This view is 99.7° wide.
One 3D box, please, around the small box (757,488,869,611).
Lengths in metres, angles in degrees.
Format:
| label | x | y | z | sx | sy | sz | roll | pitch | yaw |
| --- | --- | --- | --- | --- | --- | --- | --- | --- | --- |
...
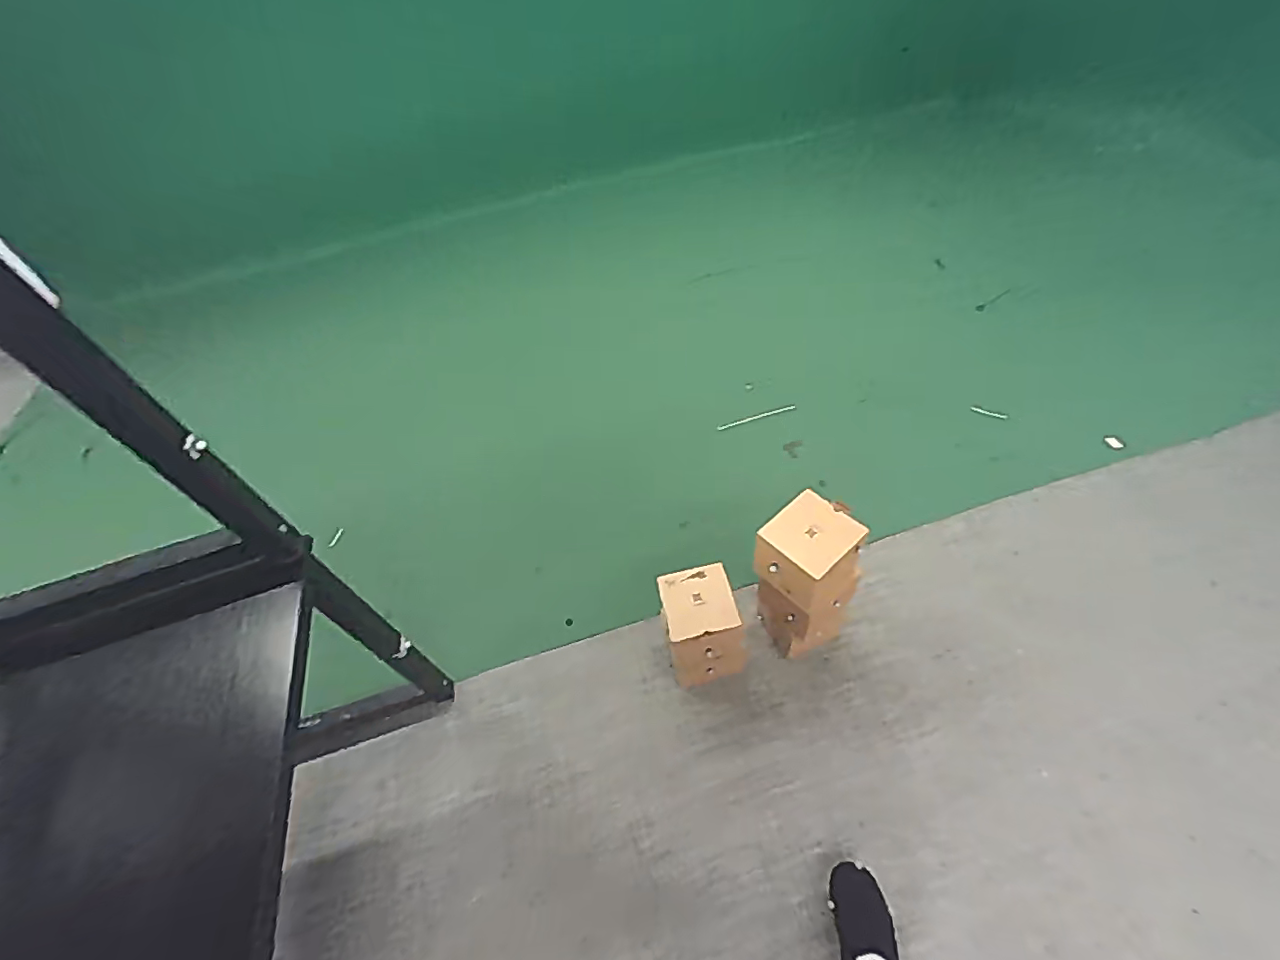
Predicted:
| label | x | y | z | sx | sy | sz | roll | pitch | yaw |
| --- | --- | --- | --- | --- | --- | --- | --- | --- | --- |
| small box | 0.379 | 0.159 | 1.212 | 0.179 | 0.176 | 0.168 | -37 | 55 | -21 |

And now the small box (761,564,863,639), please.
| label | x | y | z | sx | sy | sz | roll | pitch | yaw |
| --- | --- | --- | --- | --- | --- | --- | --- | --- | --- |
| small box | 0.415 | 0.260 | 1.335 | 0.179 | 0.176 | 0.168 | -33 | 55 | -18 |

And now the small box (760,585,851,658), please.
| label | x | y | z | sx | sy | sz | roll | pitch | yaw |
| --- | --- | --- | --- | --- | --- | --- | --- | --- | --- |
| small box | 0.440 | 0.353 | 1.466 | 0.179 | 0.176 | 0.168 | -22 | 51 | -10 |

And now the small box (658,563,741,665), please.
| label | x | y | z | sx | sy | sz | roll | pitch | yaw |
| --- | --- | --- | --- | --- | --- | --- | --- | --- | --- |
| small box | 0.147 | 0.333 | 1.317 | 0.168 | 0.176 | 0.179 | -13 | 50 | 0 |
